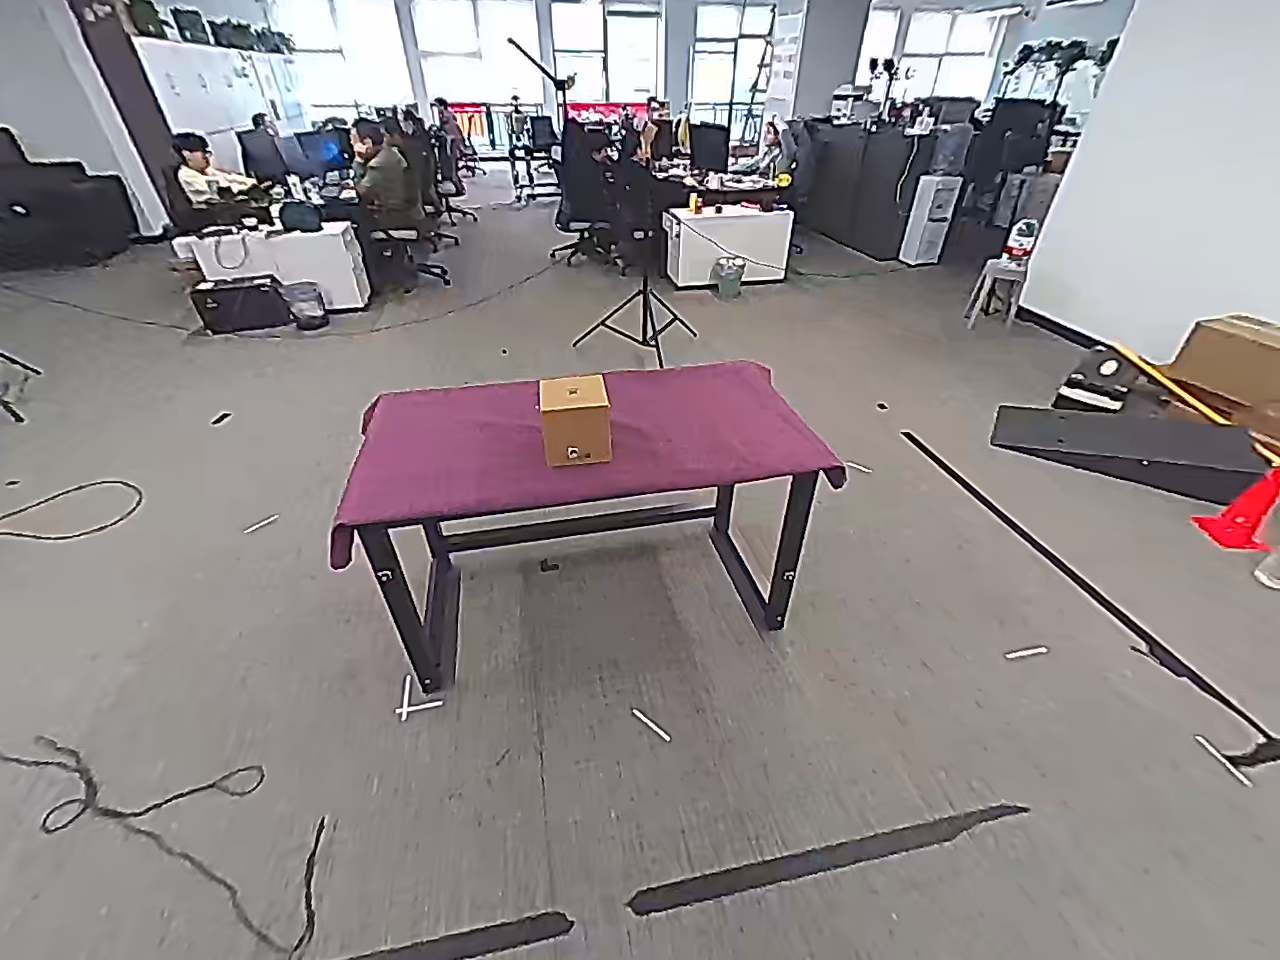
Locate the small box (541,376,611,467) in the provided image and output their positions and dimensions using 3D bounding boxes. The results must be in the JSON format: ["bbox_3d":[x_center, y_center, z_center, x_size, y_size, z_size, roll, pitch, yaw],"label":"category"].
[{"bbox_3d":[-0.167,-0.153,1.400,0.168,0.176,0.179,-7,37,-7],"label":"small box"}]
